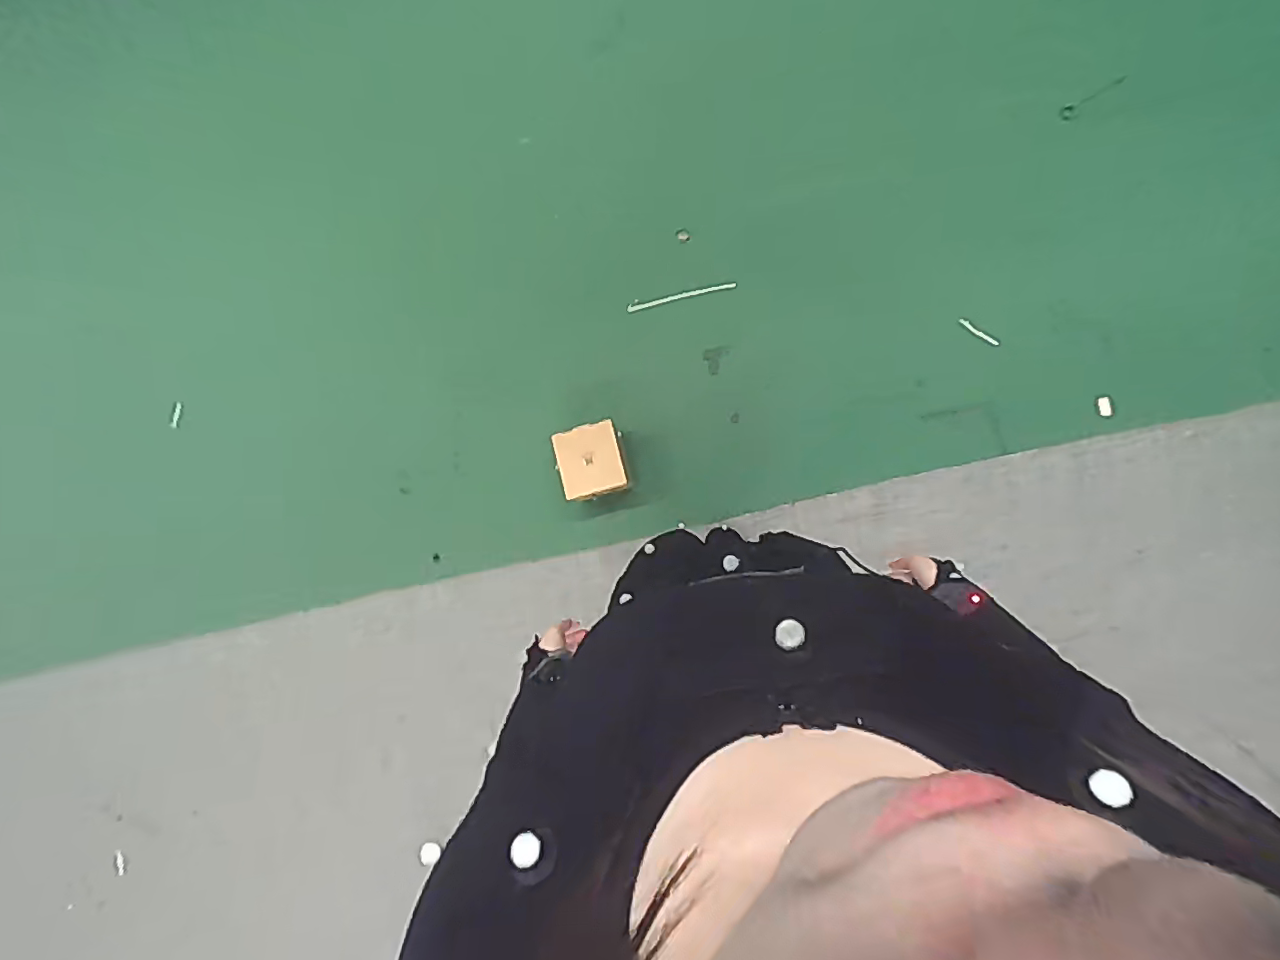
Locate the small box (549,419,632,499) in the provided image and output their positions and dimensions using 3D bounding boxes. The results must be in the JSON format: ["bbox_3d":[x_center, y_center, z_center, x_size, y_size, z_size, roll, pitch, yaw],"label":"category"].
[{"bbox_3d":[-0.128,-0.051,1.469,0.168,0.176,0.179,-16,85,5],"label":"small box"}]
